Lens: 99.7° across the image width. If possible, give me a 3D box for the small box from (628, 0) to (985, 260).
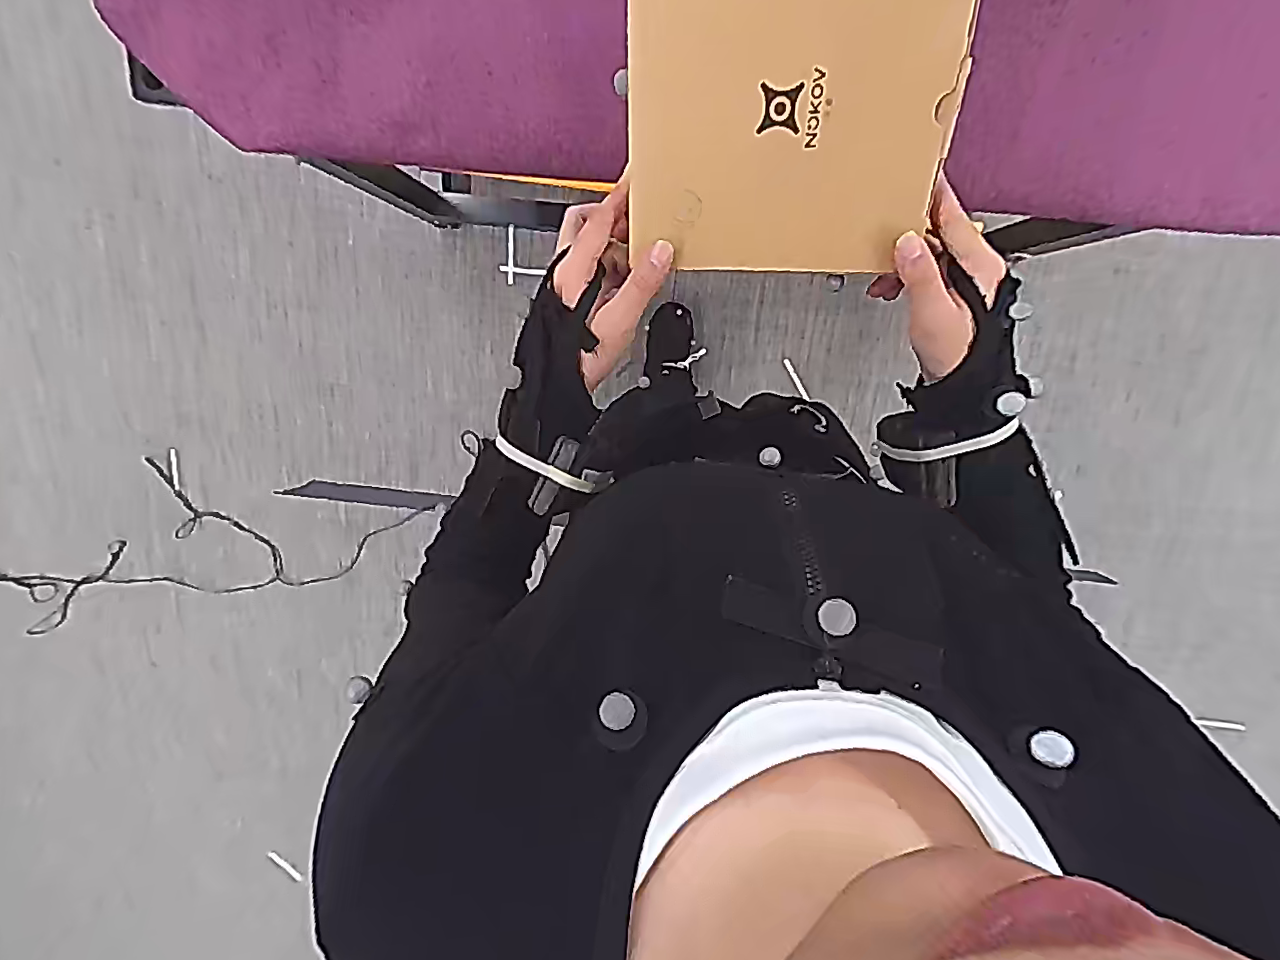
[{"bbox_3d":[0.087,-0.242,0.355,0.179,0.176,0.168,2,118,3],"label":"small box"}]
